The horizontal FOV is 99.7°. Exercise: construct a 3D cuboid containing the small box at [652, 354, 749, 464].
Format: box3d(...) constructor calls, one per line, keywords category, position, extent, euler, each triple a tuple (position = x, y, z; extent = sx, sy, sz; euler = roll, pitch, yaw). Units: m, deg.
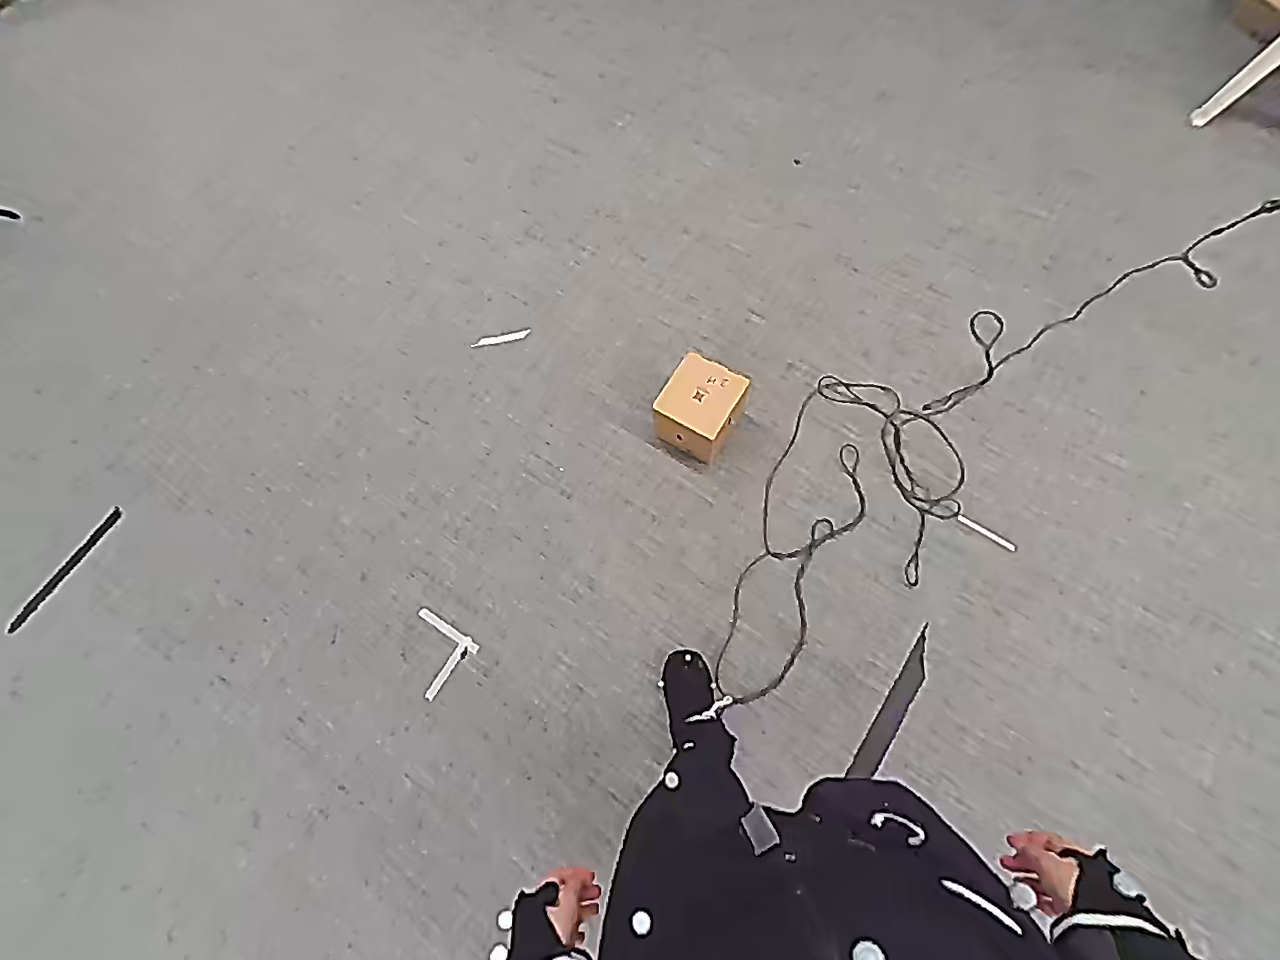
box3d(category="small box", position=(0.147, -0.165, 1.318), extent=(0.168, 0.176, 0.179), euler=(30, 76, 13))
